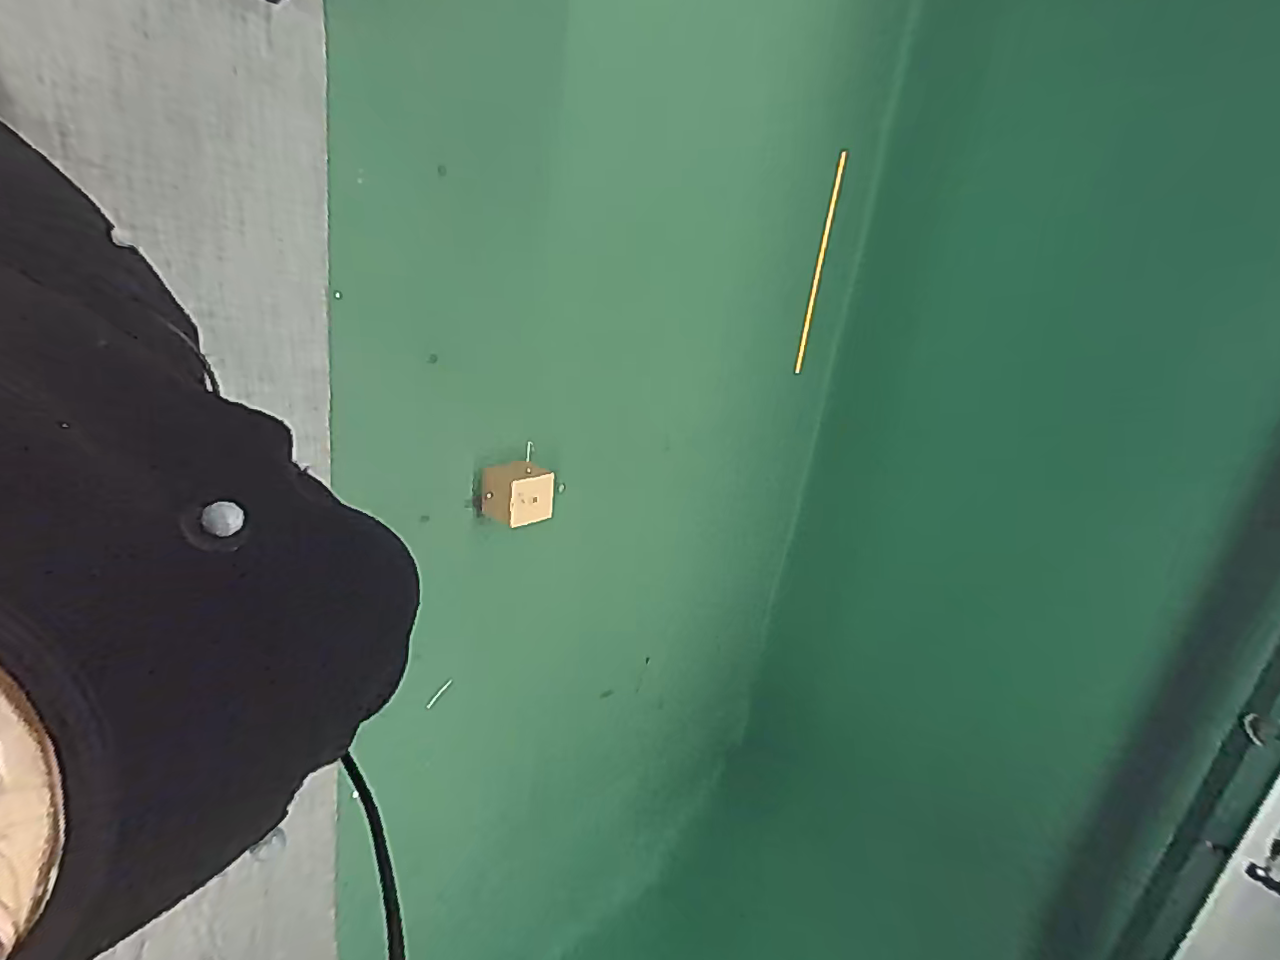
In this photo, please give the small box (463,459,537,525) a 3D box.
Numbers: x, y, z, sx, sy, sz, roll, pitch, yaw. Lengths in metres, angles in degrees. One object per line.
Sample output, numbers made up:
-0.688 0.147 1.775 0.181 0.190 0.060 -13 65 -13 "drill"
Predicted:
-0.477 0.034 1.840 0.179 0.176 0.168 -13 117 -49 "small box"
